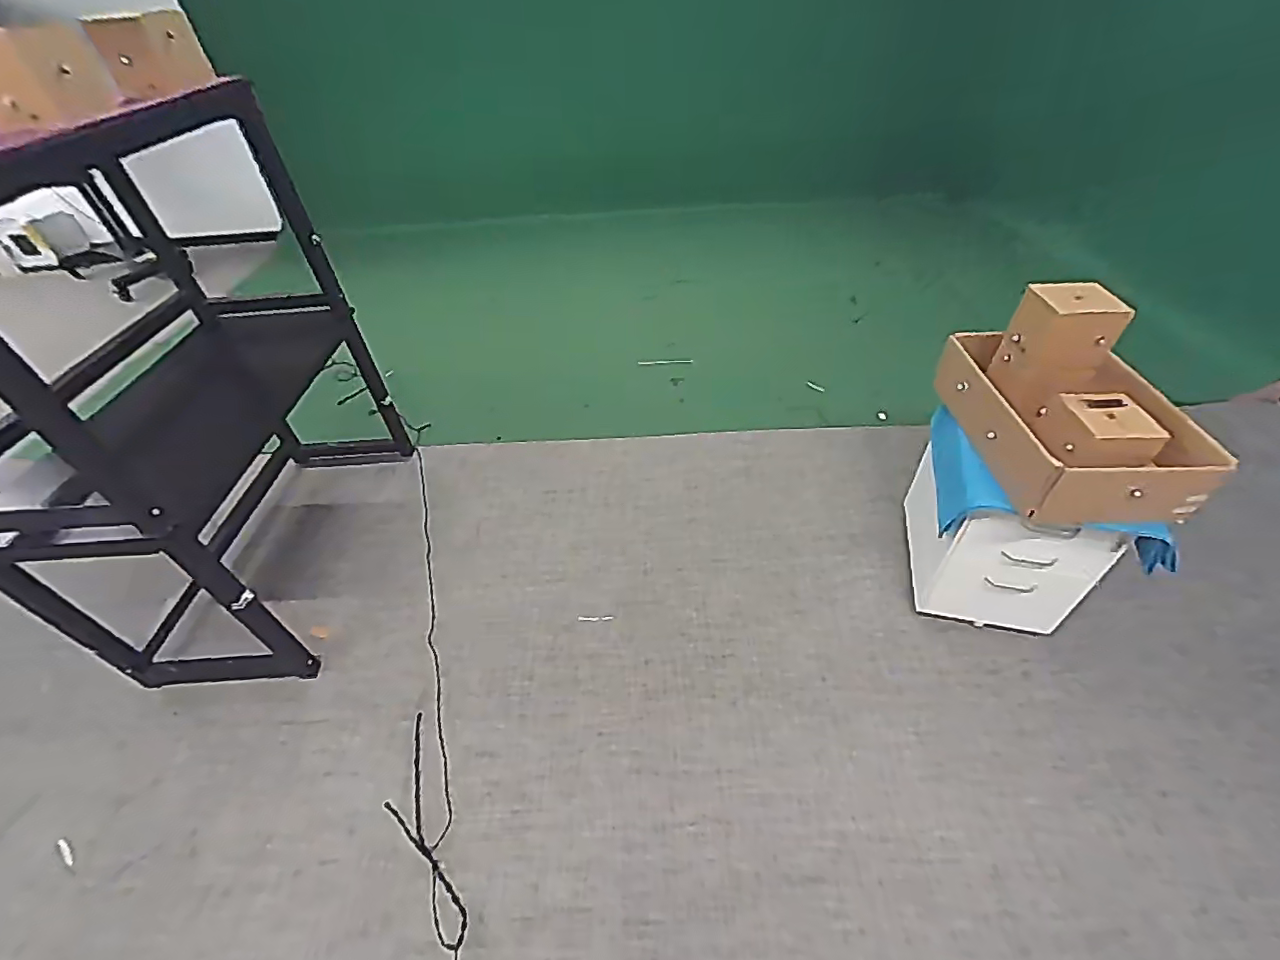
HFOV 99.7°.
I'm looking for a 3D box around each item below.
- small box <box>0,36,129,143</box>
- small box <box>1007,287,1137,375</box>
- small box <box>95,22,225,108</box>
[{"bbox_3d":[-1.315,-0.870,1.208,0.168,0.176,0.179,-4,44,4],"label":"small box"},{"bbox_3d":[1.115,-0.388,1.413,0.179,0.176,0.168,-1,44,3],"label":"small box"},{"bbox_3d":[-1.306,-1.139,1.491,0.168,0.176,0.179,1,44,5],"label":"small box"}]
